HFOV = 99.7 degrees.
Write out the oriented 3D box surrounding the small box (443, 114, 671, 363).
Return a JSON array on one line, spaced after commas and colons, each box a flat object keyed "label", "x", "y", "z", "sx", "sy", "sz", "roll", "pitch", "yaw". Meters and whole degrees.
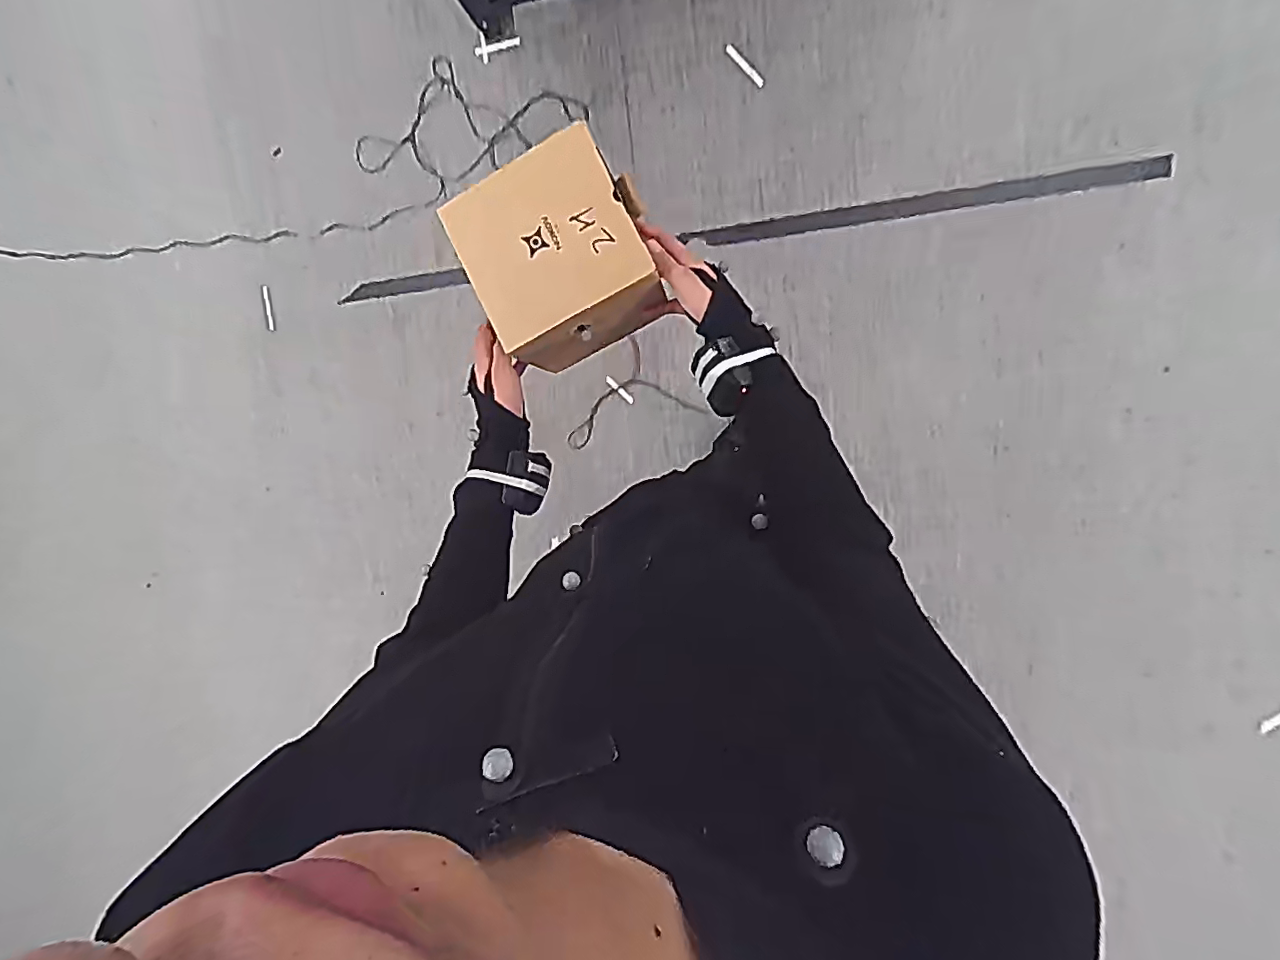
[{"label": "small box", "x": -0.079, "y": -0.249, "z": 0.611, "sx": 0.179, "sy": 0.176, "sz": 0.168, "roll": -26, "pitch": 90, "yaw": 9}]
